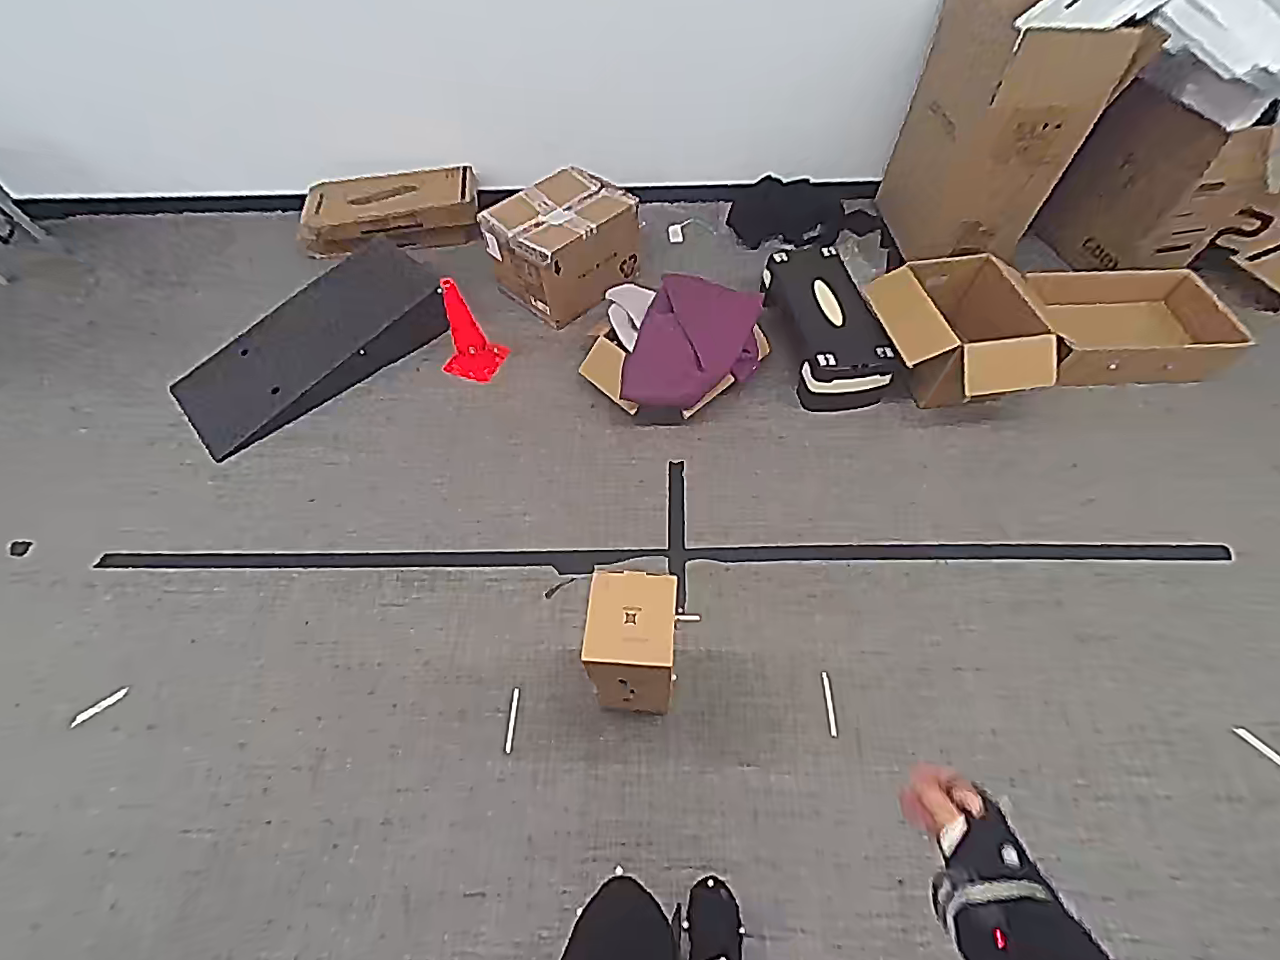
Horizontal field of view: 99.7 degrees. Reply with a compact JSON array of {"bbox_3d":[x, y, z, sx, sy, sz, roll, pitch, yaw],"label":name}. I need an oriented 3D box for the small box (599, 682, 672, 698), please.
[{"bbox_3d":[-0.007,0.373,1.207,0.168,0.176,0.179,3,57,4],"label":"small box"}]

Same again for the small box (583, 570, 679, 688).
[{"bbox_3d":[-0.011,0.295,1.063,0.168,0.176,0.179,2,58,4],"label":"small box"}]

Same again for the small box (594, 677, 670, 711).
[{"bbox_3d":[-0.011,0.467,1.342,0.179,0.176,0.168,3,57,3],"label":"small box"}]
